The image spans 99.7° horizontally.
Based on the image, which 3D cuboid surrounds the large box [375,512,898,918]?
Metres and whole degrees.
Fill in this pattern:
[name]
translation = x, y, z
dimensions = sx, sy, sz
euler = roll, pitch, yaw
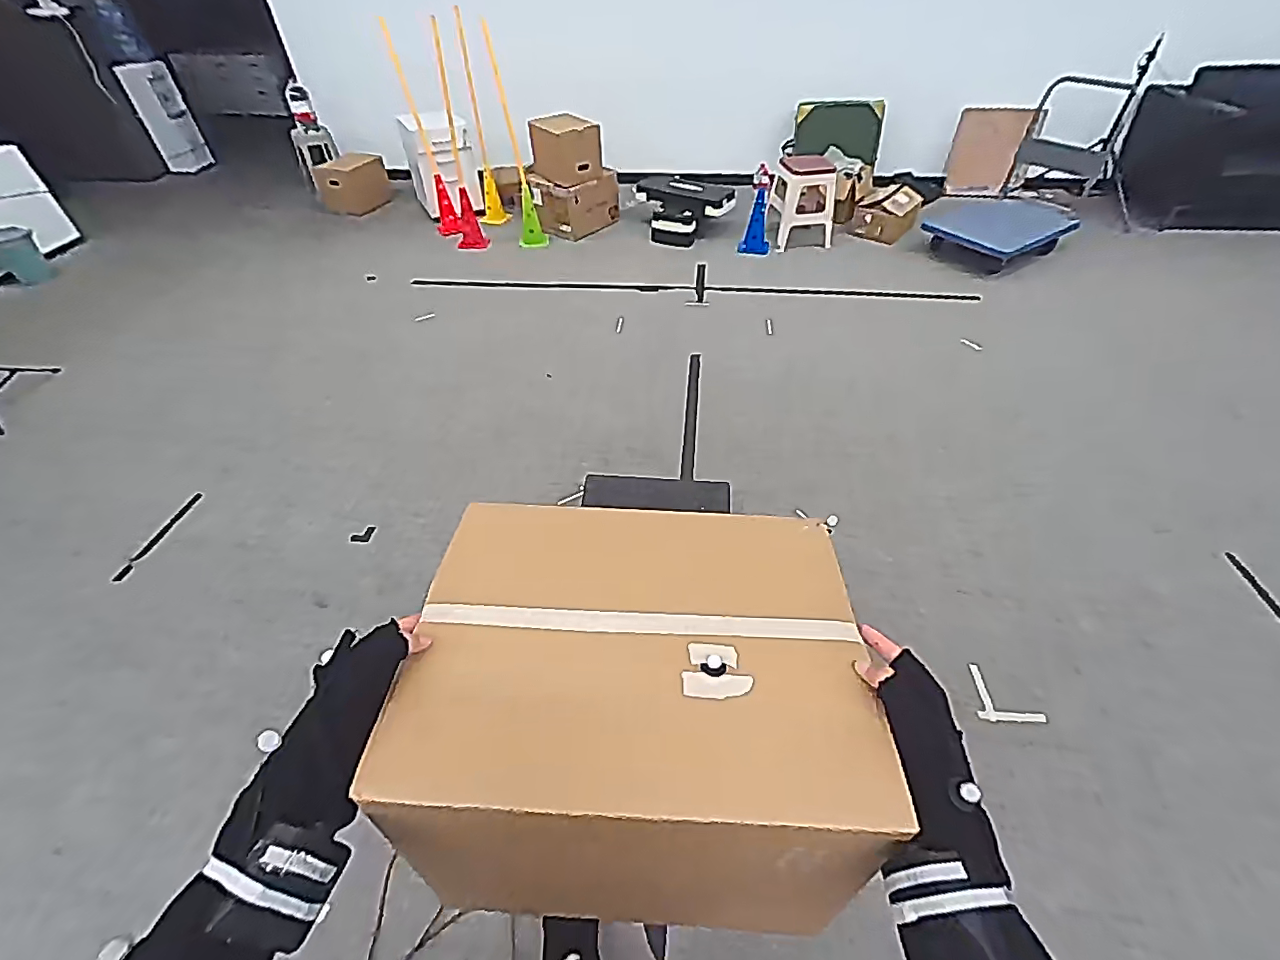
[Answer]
[large box]
translation = -0.003, 0.257, 0.611
dimensions = 0.408, 0.320, 0.320
euler = 3, 40, 2
